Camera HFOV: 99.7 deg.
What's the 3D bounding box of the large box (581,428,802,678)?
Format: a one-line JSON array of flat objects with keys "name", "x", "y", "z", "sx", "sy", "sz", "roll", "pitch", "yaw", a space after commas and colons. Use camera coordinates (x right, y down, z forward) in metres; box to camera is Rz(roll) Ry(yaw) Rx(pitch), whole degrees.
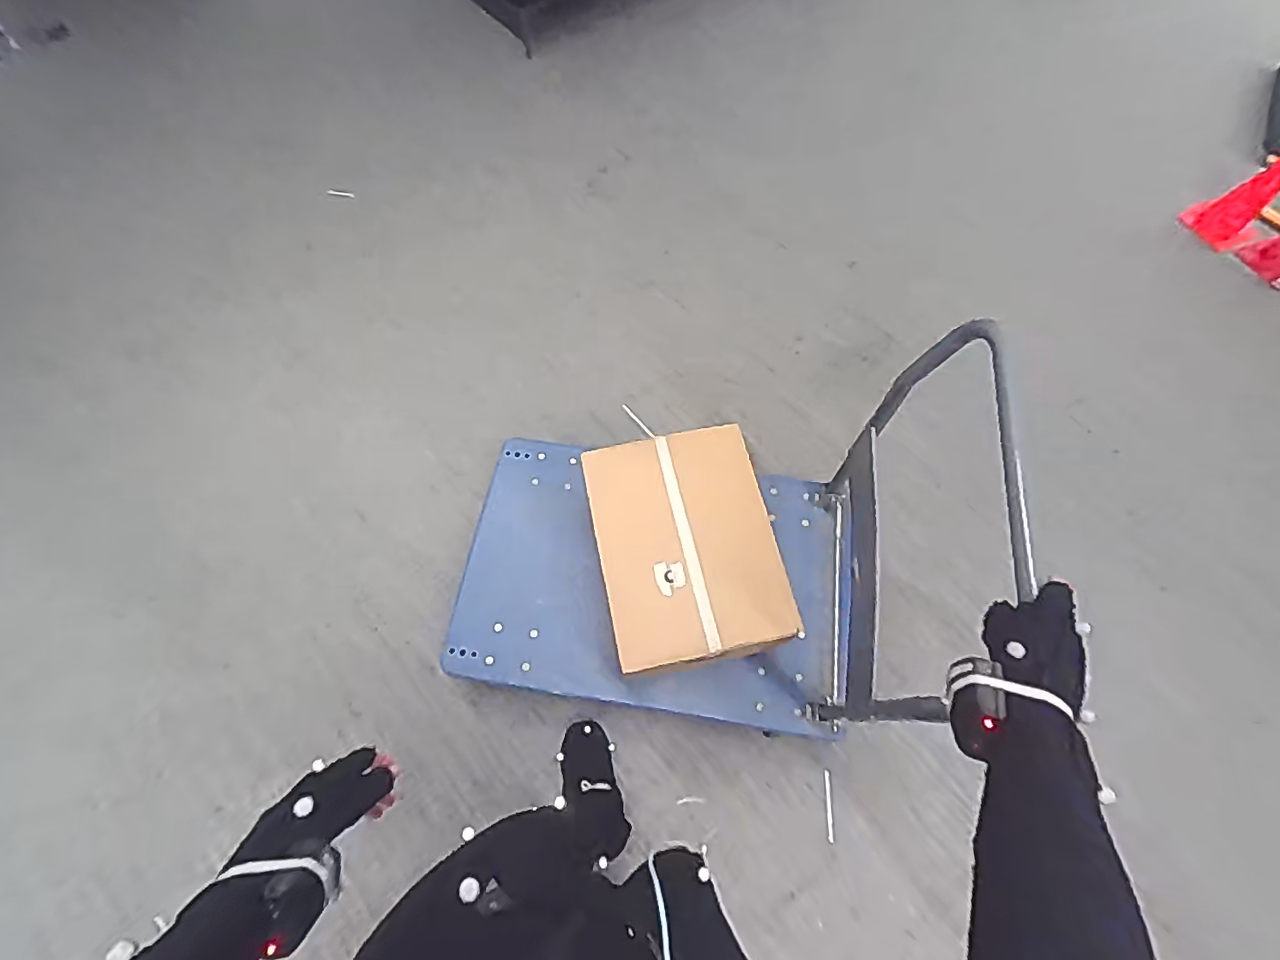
[{"name": "large box", "x": 0.077, "y": 0.160, "z": 1.108, "sx": 0.320, "sy": 0.320, "sz": 0.408, "roll": -12, "pitch": 68, "yaw": -6}]
